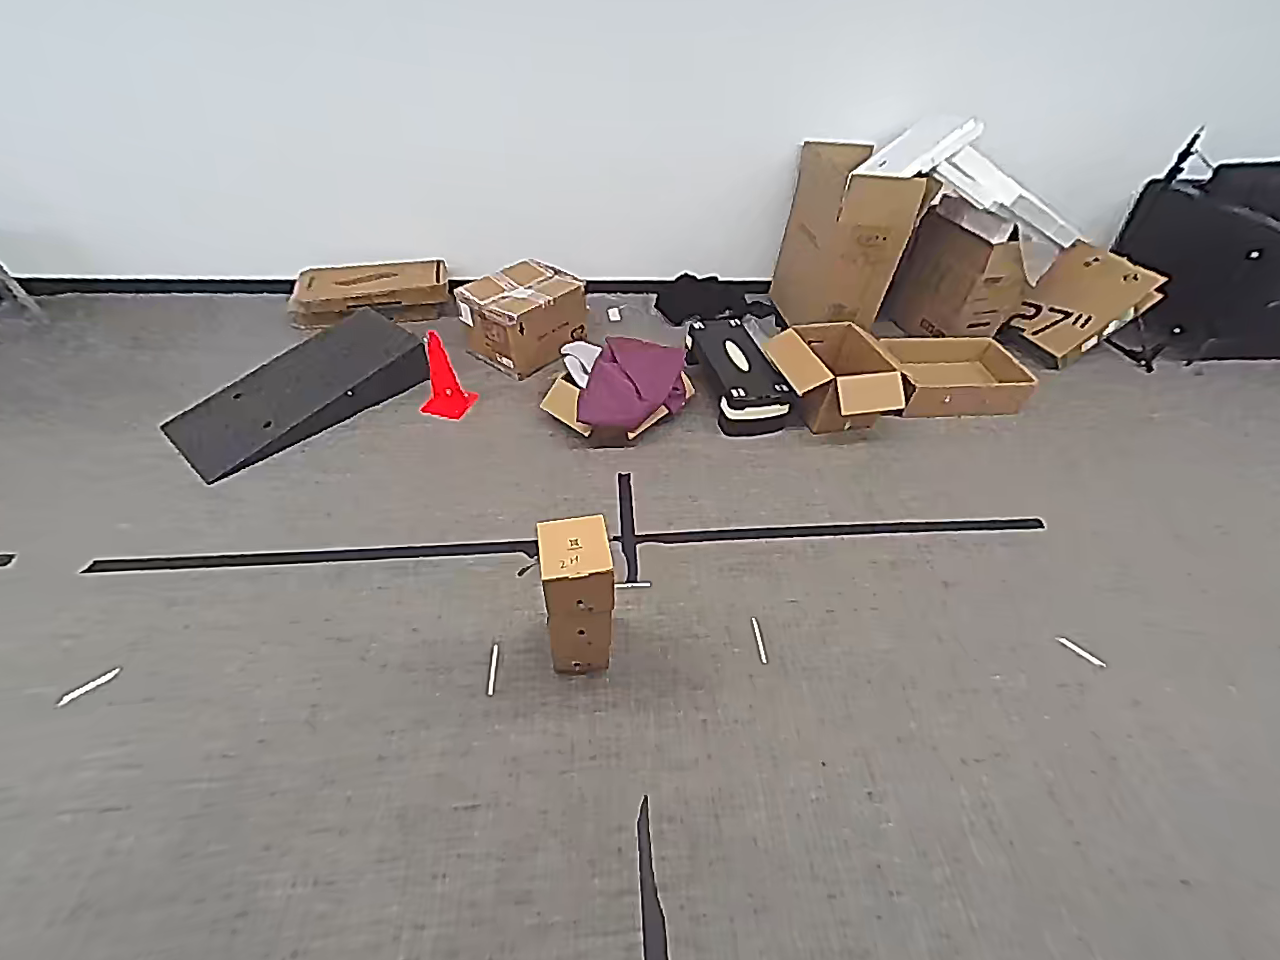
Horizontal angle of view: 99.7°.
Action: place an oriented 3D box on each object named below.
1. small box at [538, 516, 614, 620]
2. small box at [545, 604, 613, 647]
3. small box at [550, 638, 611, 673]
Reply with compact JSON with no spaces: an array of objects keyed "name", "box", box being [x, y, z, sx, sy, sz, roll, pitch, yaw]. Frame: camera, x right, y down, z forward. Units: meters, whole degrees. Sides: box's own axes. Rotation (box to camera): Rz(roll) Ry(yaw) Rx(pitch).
[{"name":"small box","box":[-0.157,0.216,1.330,0.168,0.176,0.179,-8,46,-9]},{"name":"small box","box":[-0.161,0.333,1.448,0.168,0.176,0.179,-3,46,-6]},{"name":"small box","box":[-0.173,0.438,1.574,0.168,0.176,0.179,-4,46,-6]}]
